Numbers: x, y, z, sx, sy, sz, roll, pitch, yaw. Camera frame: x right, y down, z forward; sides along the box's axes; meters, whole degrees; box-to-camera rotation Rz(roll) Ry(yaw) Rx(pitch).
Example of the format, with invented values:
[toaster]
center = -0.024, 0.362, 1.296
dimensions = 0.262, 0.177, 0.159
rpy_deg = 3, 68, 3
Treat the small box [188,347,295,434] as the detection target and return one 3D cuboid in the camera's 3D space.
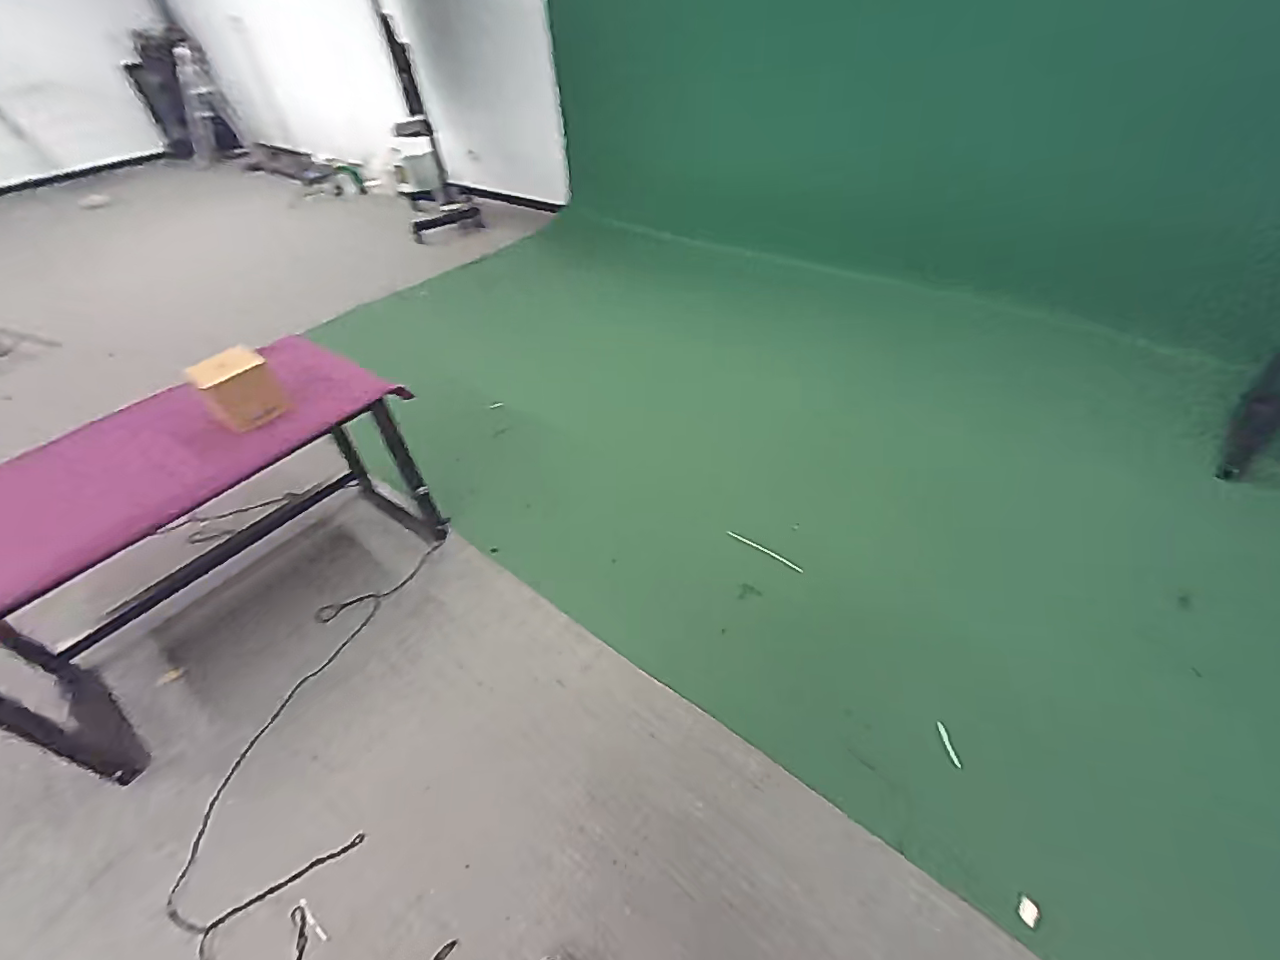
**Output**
[small box]
center = -1.160, -0.261, 1.583
dimensions = 0.179, 0.176, 0.168
rpy_deg = 27, 54, 31
